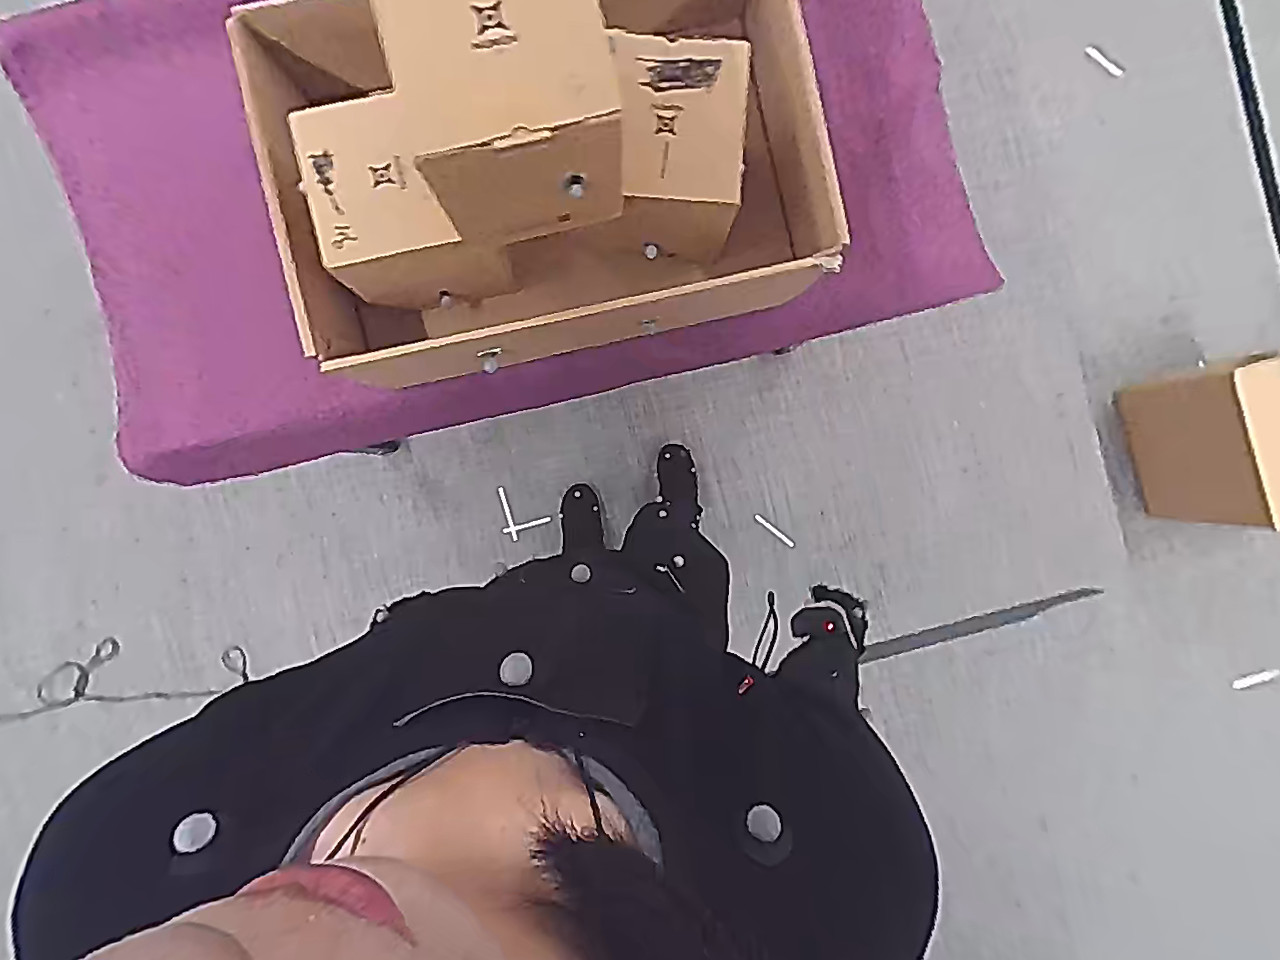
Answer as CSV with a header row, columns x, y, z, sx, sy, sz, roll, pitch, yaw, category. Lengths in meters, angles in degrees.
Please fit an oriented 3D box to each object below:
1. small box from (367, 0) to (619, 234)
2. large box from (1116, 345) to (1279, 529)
x,y,z,sx,sy,sz,roll,pitch,yaw,category
-0.117,-0.341,0.476,0.168,0.176,0.179,-15,90,-4,small box
1.600,-0.118,1.450,0.320,0.320,0.408,-18,93,-2,large box
